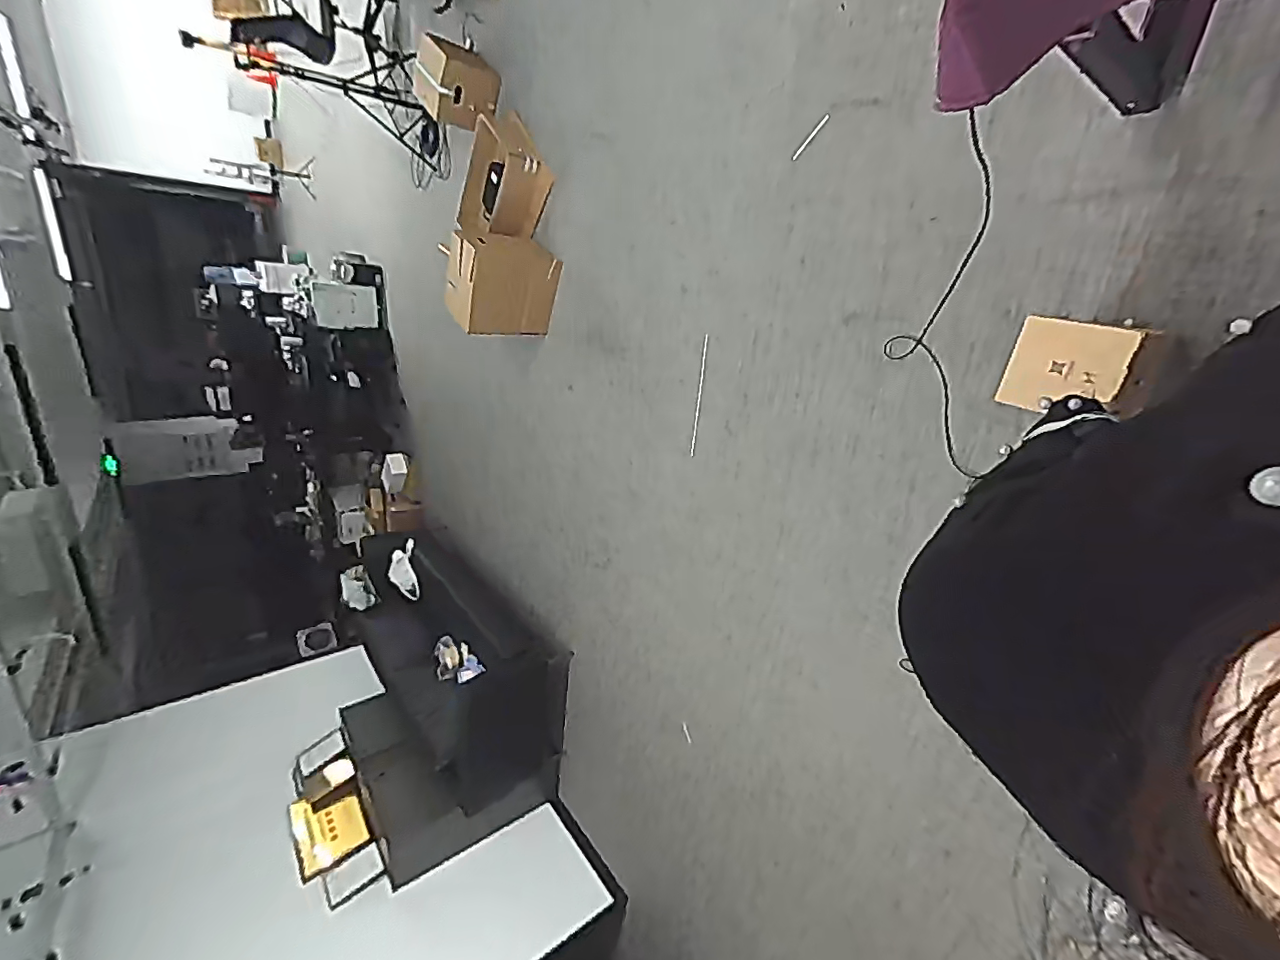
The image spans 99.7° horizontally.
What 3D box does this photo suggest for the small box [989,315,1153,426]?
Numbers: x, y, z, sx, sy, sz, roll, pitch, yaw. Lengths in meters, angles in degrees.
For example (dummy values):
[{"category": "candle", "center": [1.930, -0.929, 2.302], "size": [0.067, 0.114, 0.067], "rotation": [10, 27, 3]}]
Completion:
[{"category": "small box", "center": [0.814, -0.210, 1.024], "size": [0.179, 0.176, 0.168], "rotation": [32, 122, 43]}]
